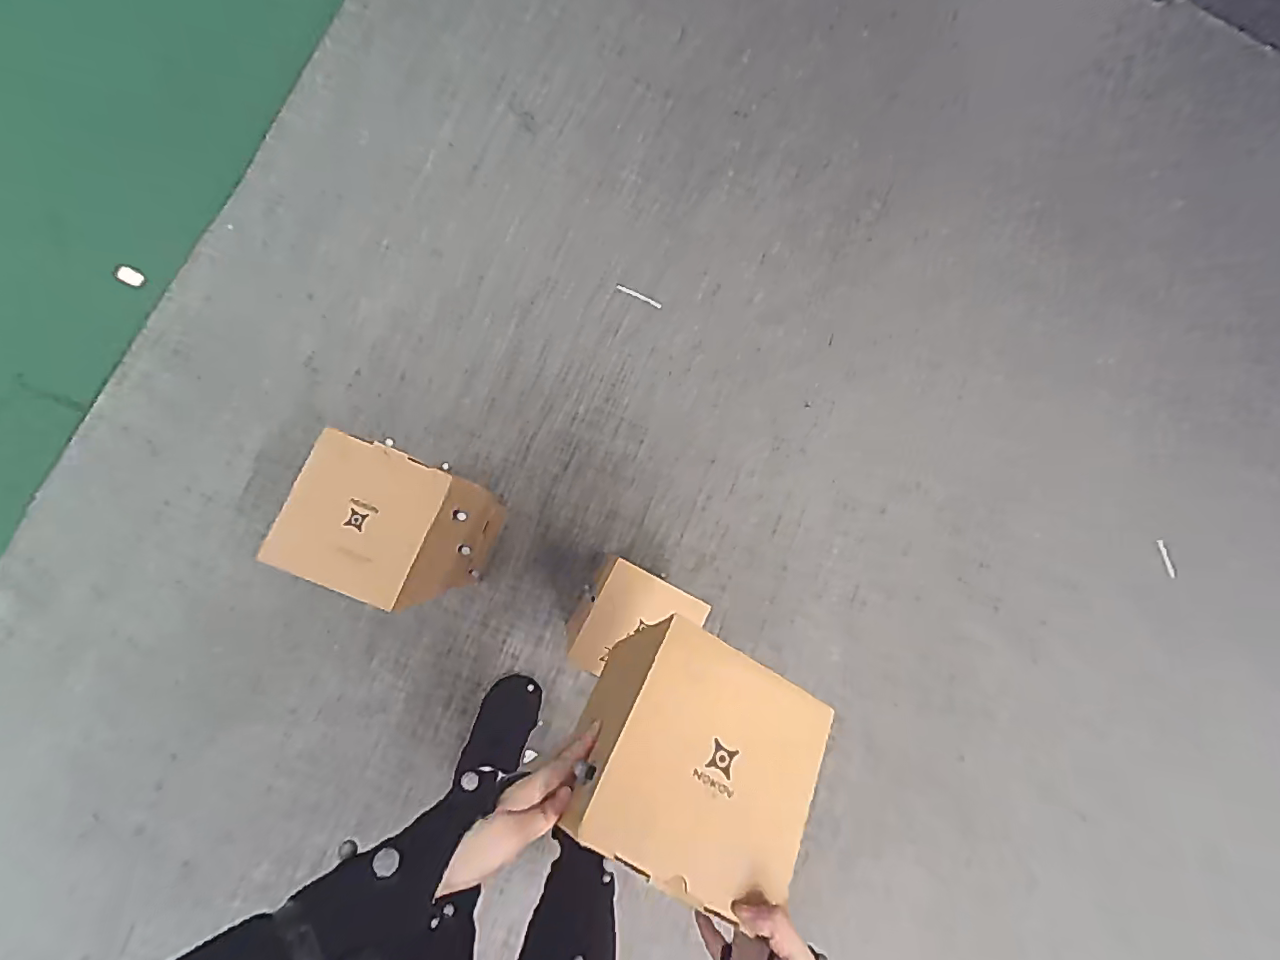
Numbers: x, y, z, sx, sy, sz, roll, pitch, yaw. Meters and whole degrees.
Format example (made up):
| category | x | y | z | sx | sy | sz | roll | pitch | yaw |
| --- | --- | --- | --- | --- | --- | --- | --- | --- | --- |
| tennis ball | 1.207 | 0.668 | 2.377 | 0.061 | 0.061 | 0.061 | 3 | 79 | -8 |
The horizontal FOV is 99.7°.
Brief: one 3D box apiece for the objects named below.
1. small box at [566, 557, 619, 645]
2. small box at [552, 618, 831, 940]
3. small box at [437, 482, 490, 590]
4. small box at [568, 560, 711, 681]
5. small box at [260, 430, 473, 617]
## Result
| category | x | y | z | sx | sy | sz | roll | pitch | yaw |
| --- | --- | --- | --- | --- | --- | --- | --- | --- | --- |
| small box | -0.035 | 0.262 | 1.055 | 0.168 | 0.176 | 0.179 | 30 | 82 | -3 |
| small box | 0.037 | 0.252 | 0.490 | 0.168 | 0.176 | 0.179 | 31 | 60 | -5 |
| small box | -0.355 | 0.072 | 0.868 | 0.168 | 0.176 | 0.179 | 21 | 82 | -4 |
| small box | -0.010 | 0.242 | 0.893 | 0.168 | 0.176 | 0.179 | 28 | 81 | -3 |
| small box | -0.335 | 0.058 | 0.707 | 0.168 | 0.176 | 0.179 | 22 | 82 | -3 |
